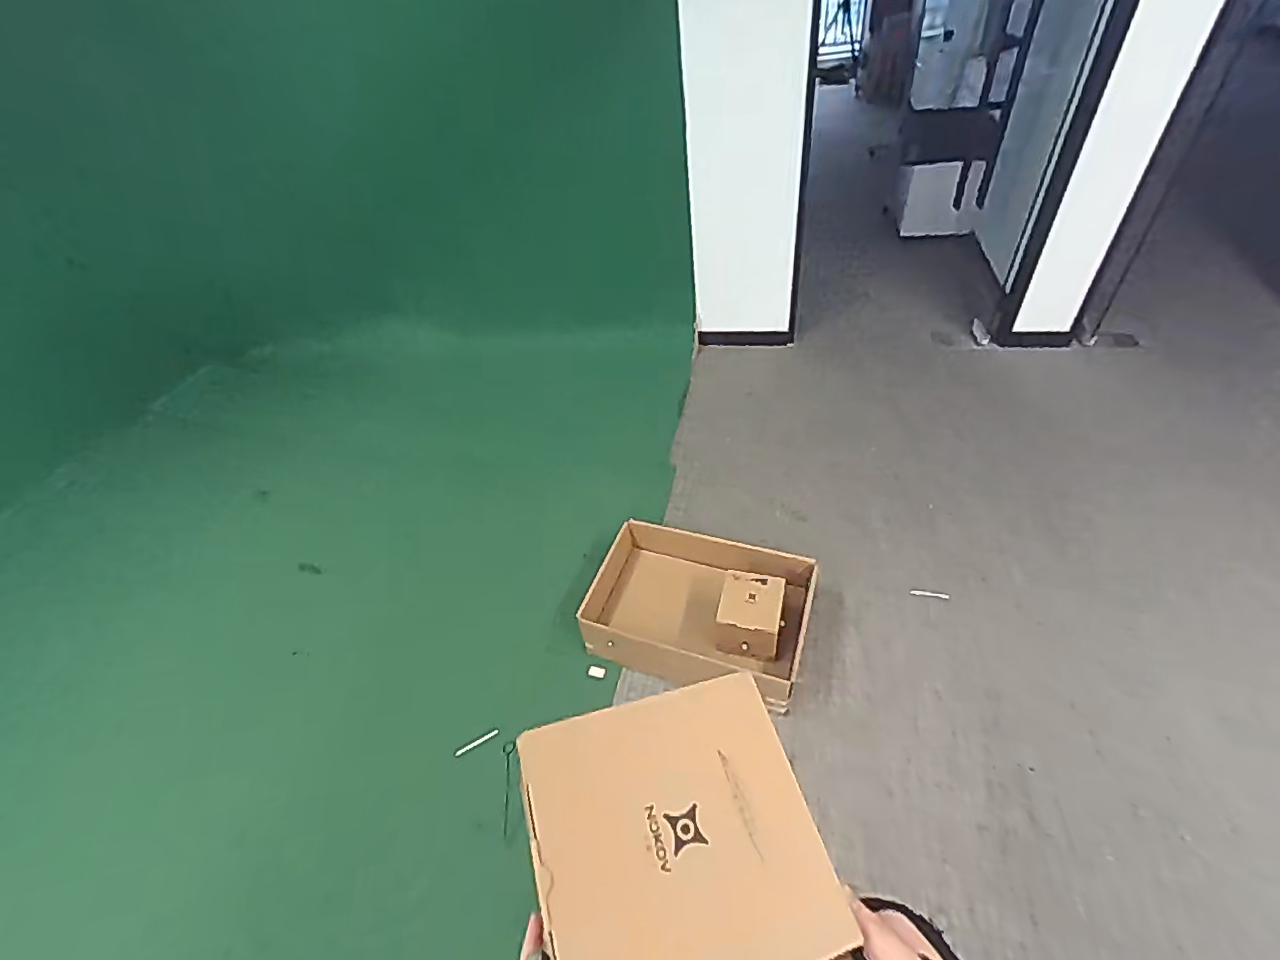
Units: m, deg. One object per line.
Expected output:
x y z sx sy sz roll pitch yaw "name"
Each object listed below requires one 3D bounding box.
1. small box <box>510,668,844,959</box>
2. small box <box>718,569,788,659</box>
0.007 0.265 0.399 0.179 0.176 0.168 -8 53 -16 "small box"
0.324 0.381 1.530 0.168 0.176 0.179 7 48 18 "small box"
